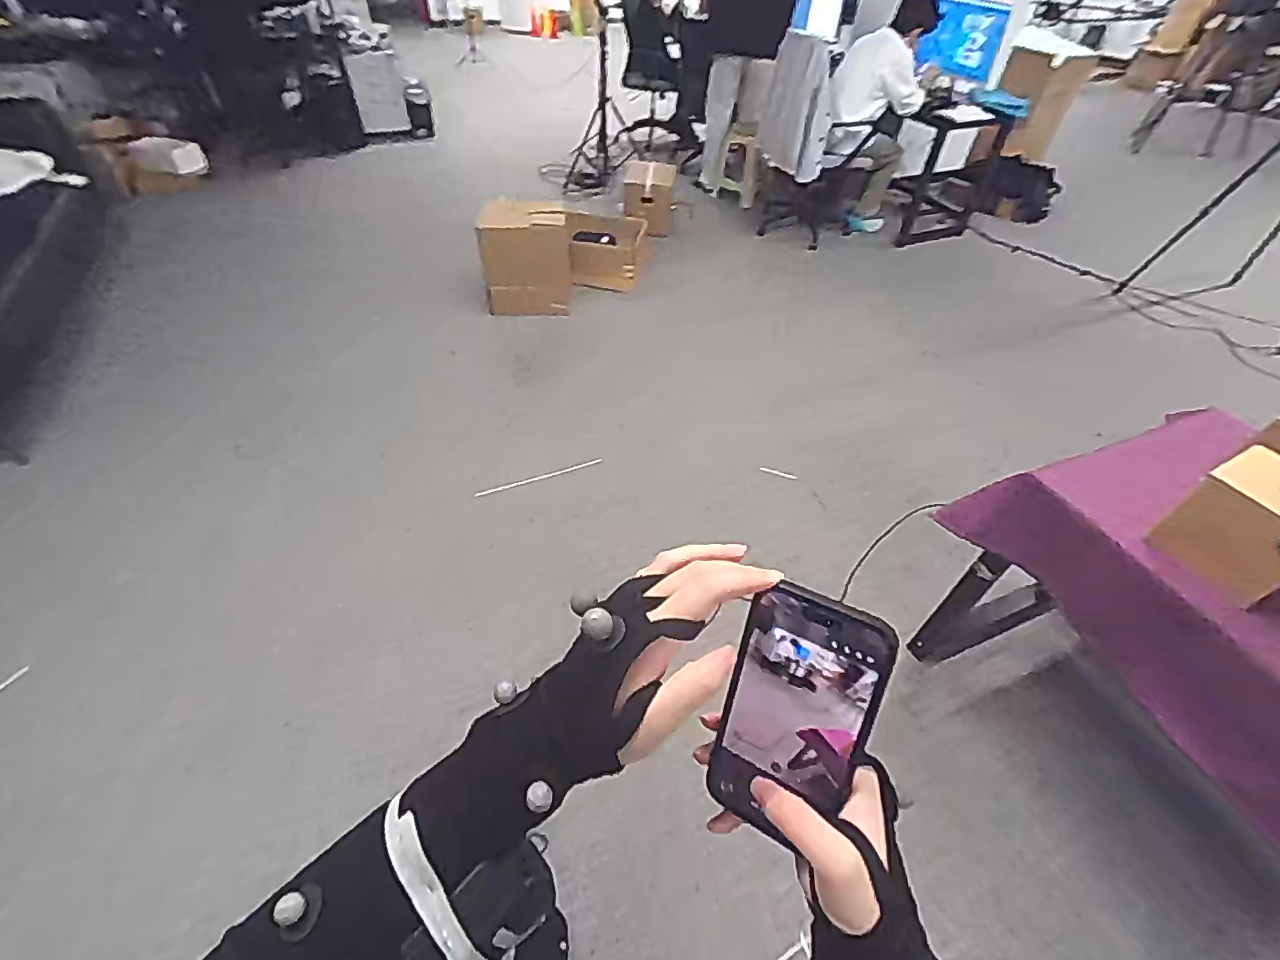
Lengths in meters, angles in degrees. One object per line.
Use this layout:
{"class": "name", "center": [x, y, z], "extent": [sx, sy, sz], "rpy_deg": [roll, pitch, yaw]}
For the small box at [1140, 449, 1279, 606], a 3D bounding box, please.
{"class": "small box", "center": [1.029, 0.080, 0.922], "extent": [0.168, 0.176, 0.179], "rpy_deg": [-19, 52, -21]}
